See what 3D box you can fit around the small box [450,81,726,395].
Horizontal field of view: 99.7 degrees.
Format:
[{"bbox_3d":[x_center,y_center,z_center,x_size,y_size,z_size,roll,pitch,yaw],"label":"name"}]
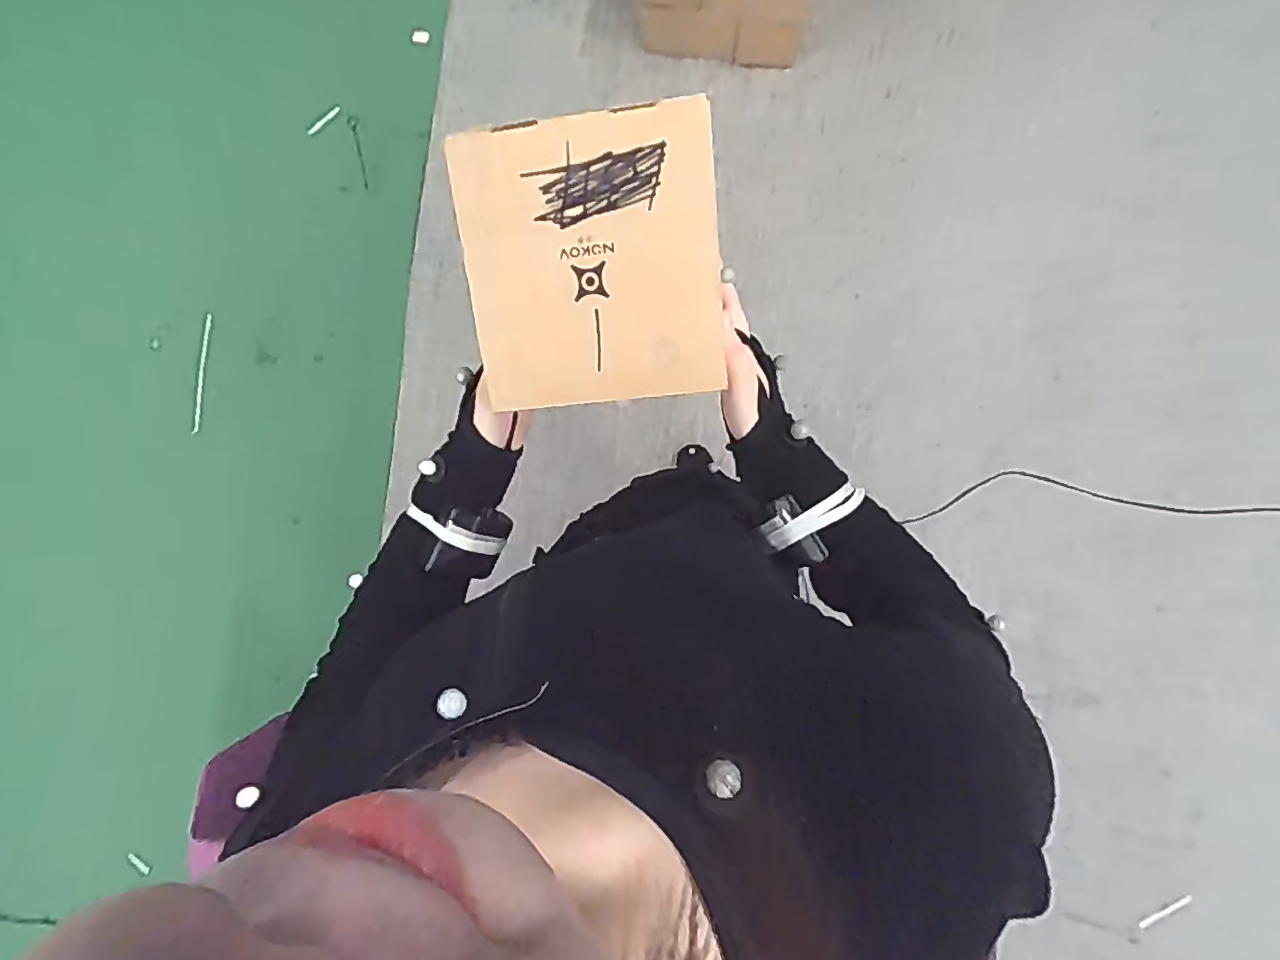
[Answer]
[{"bbox_3d":[-0.024,-0.166,0.422,0.168,0.176,0.179,-4,105,7],"label":"small box"}]
